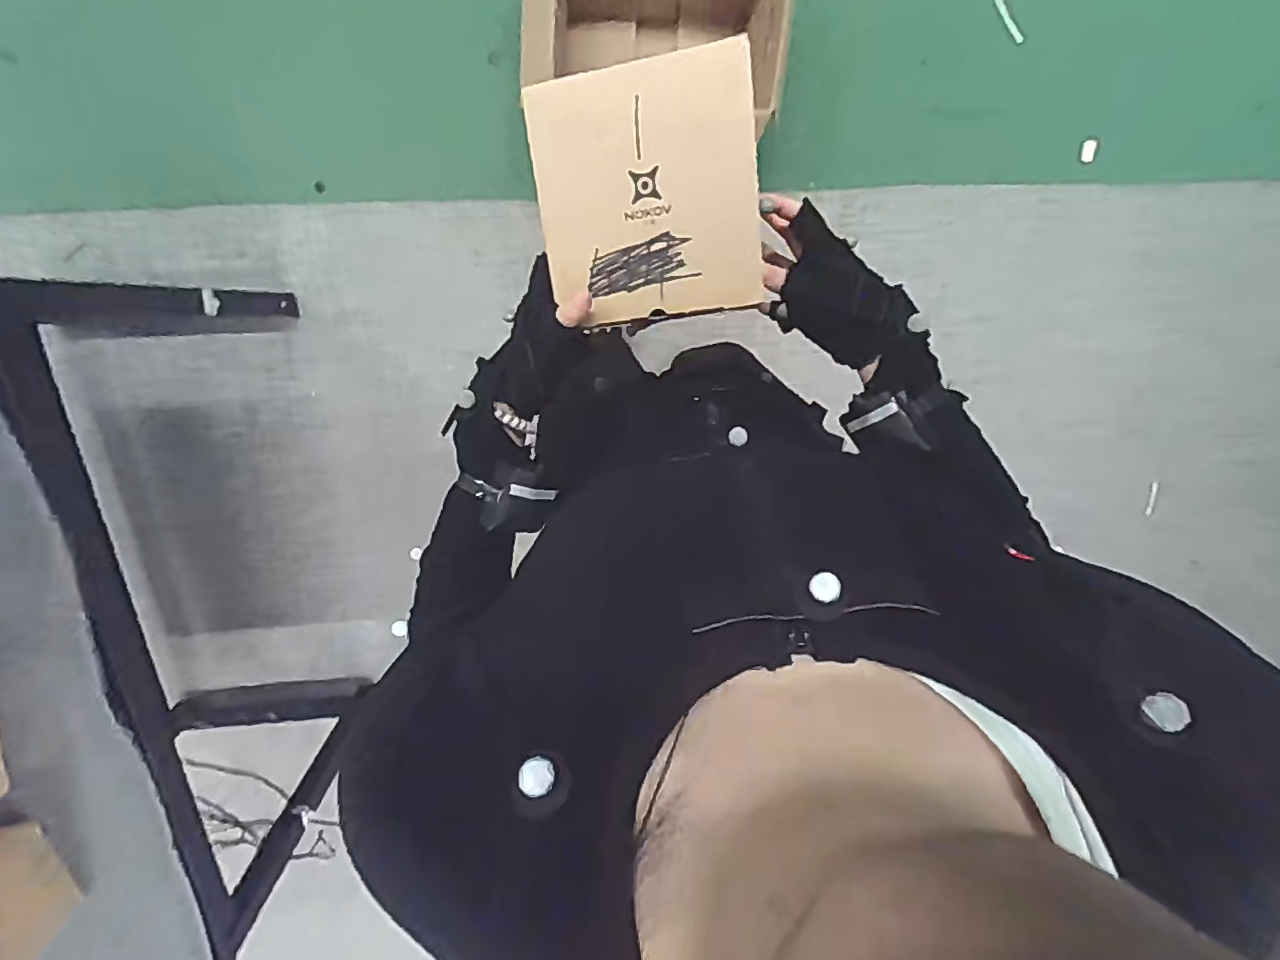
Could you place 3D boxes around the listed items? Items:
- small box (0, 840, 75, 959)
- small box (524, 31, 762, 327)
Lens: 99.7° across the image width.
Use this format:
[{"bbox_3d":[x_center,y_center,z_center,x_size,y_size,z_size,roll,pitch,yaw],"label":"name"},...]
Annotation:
[{"bbox_3d":[-0.983,0.644,0.763,0.168,0.176,0.179,-9,108,-2],"label":"small box"},{"bbox_3d":[0.020,-0.235,0.473,0.168,0.176,0.179,-4,106,12],"label":"small box"}]
